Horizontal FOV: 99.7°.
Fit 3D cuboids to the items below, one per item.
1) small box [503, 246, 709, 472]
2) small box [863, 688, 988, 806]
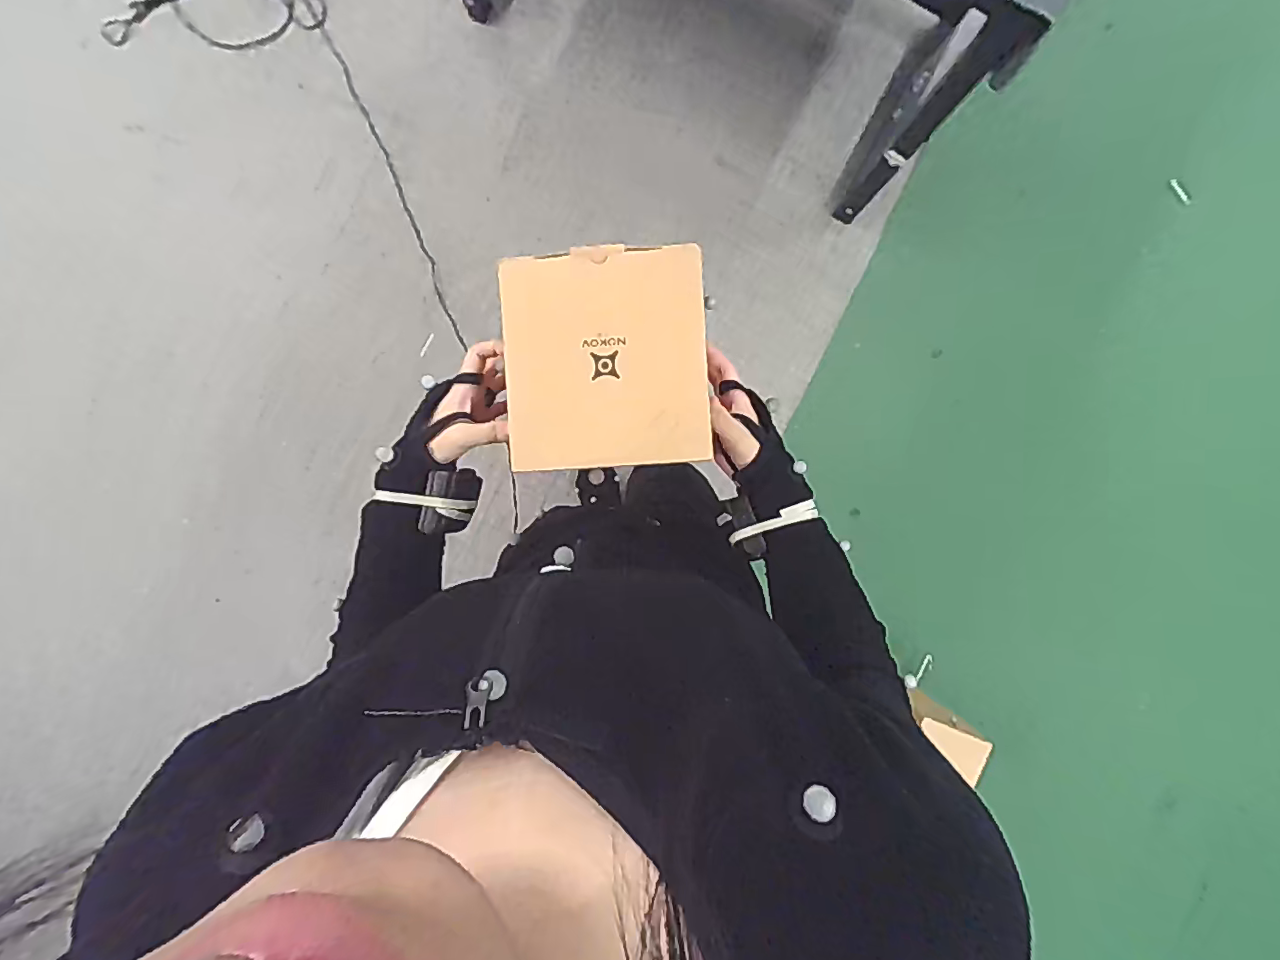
[{"bbox_3d":[-0.023,-0.100,0.519,0.168,0.176,0.179,-3,91,2],"label":"small box"},{"bbox_3d":[0.675,0.630,1.299,0.179,0.176,0.168,23,91,-2],"label":"small box"}]
